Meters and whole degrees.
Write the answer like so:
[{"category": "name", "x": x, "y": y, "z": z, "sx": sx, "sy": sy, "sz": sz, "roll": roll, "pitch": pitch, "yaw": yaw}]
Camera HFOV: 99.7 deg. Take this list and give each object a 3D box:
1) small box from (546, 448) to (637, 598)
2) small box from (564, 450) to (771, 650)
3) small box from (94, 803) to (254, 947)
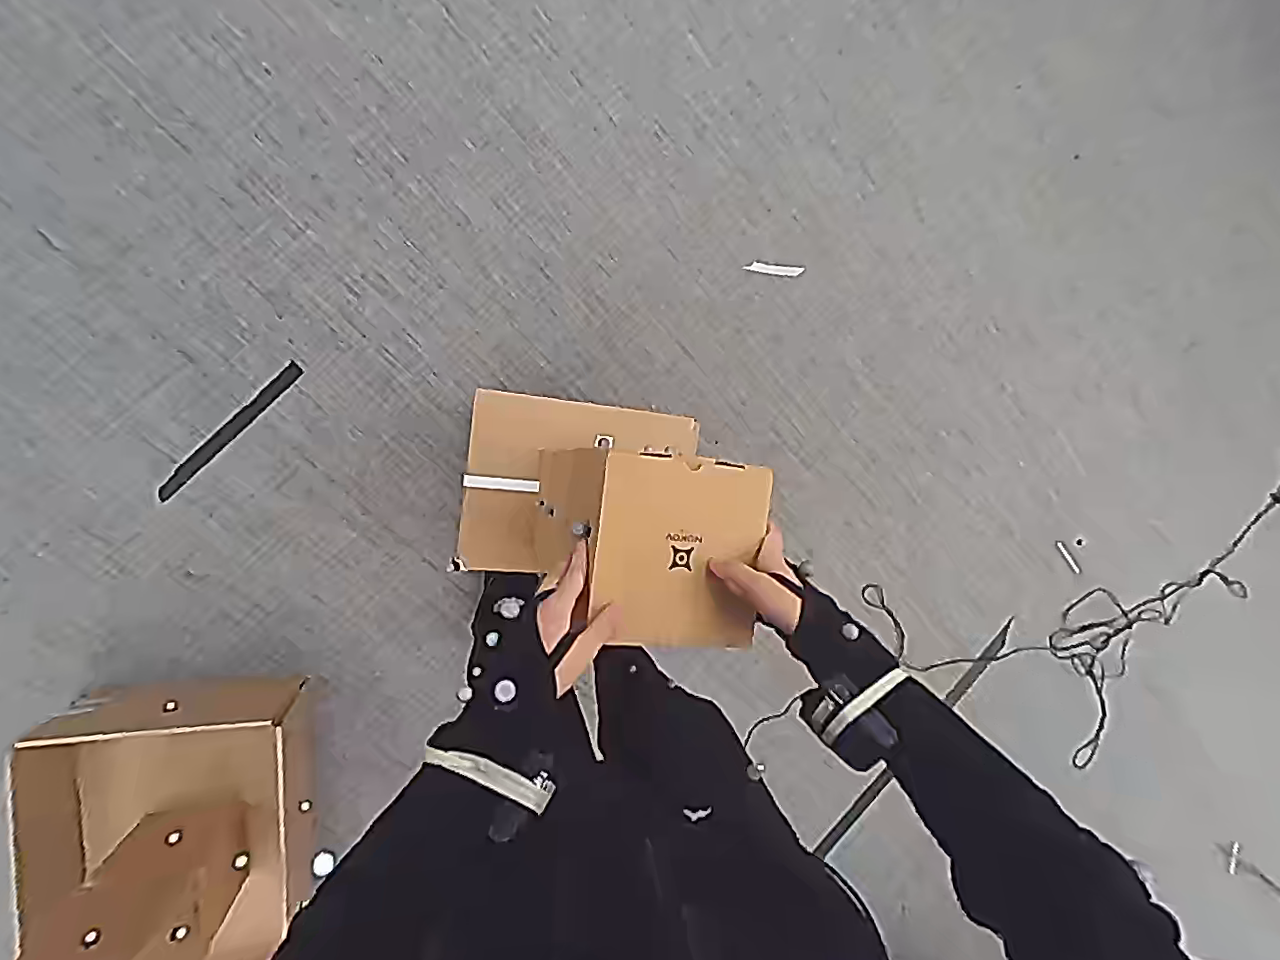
[{"category": "small box", "x": -0.032, "y": 0.053, "z": 0.730, "sx": 0.168, "sy": 0.176, "sz": 0.179, "roll": 5, "pitch": 93, "yaw": -17}, {"category": "small box", "x": 0.016, "y": 0.065, "z": 0.575, "sx": 0.168, "sy": 0.176, "sz": 0.179, "roll": 6, "pitch": 91, "yaw": -16}, {"category": "small box", "x": -0.864, "y": 0.747, "z": 1.018, "sx": 0.179, "sy": 0.176, "sz": 0.168, "roll": 0, "pitch": 96, "yaw": -16}]
